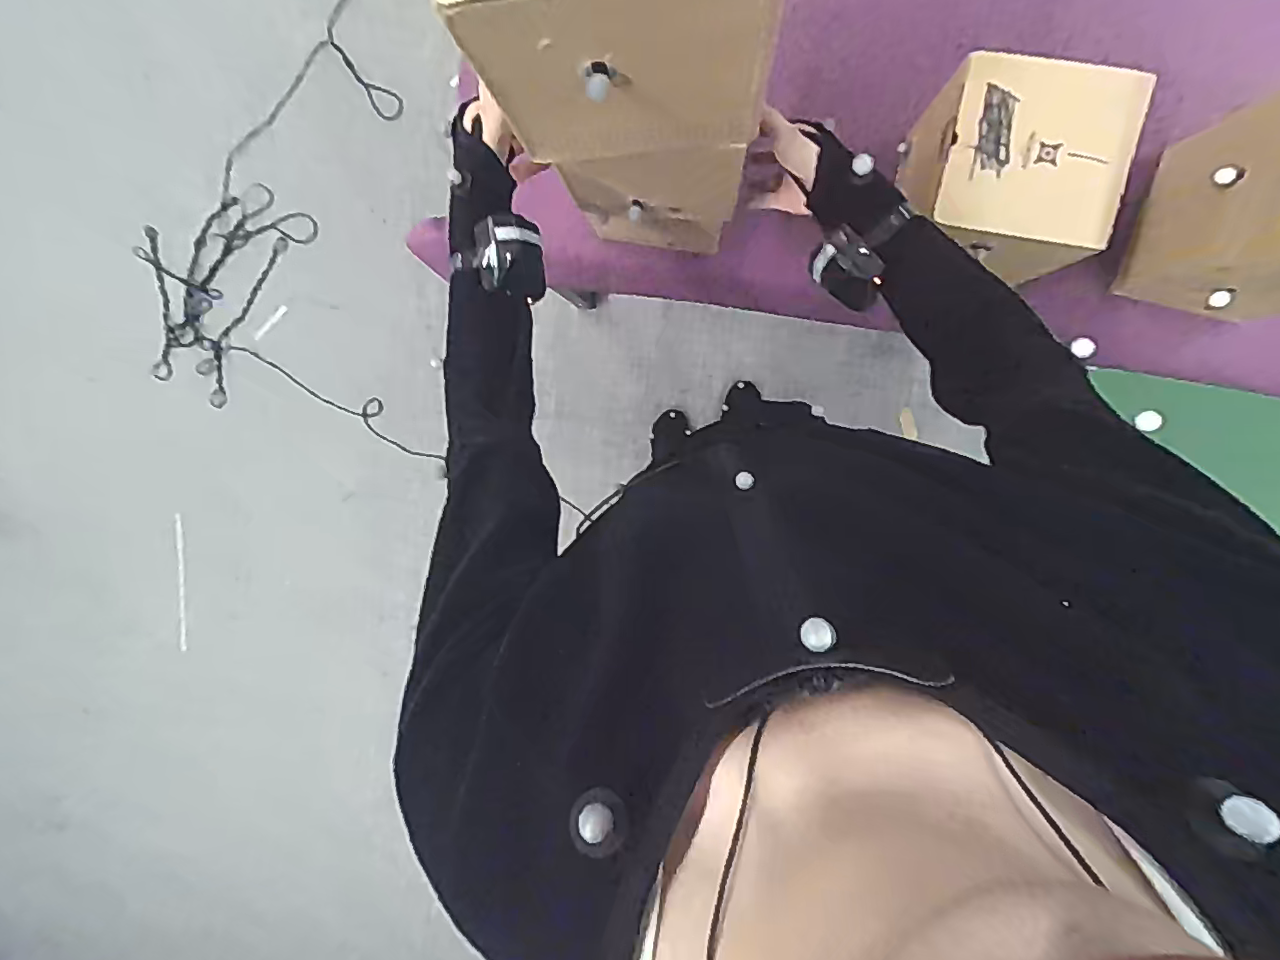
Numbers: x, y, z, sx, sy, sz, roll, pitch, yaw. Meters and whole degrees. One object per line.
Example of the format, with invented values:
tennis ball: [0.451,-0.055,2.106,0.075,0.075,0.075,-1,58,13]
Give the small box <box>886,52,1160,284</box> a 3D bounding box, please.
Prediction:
small box: [0.405,-0.332,0.611,0.179,0.176,0.168,11,98,4]

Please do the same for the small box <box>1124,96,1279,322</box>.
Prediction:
small box: [0.691,-0.282,0.588,0.168,0.176,0.179,16,100,5]

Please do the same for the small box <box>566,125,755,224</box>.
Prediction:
small box: [0.020,-0.353,0.483,0.168,0.176,0.179,6,98,6]

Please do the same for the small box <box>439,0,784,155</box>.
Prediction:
small box: [-0.006,-0.322,0.324,0.179,0.176,0.168,-2,97,7]
